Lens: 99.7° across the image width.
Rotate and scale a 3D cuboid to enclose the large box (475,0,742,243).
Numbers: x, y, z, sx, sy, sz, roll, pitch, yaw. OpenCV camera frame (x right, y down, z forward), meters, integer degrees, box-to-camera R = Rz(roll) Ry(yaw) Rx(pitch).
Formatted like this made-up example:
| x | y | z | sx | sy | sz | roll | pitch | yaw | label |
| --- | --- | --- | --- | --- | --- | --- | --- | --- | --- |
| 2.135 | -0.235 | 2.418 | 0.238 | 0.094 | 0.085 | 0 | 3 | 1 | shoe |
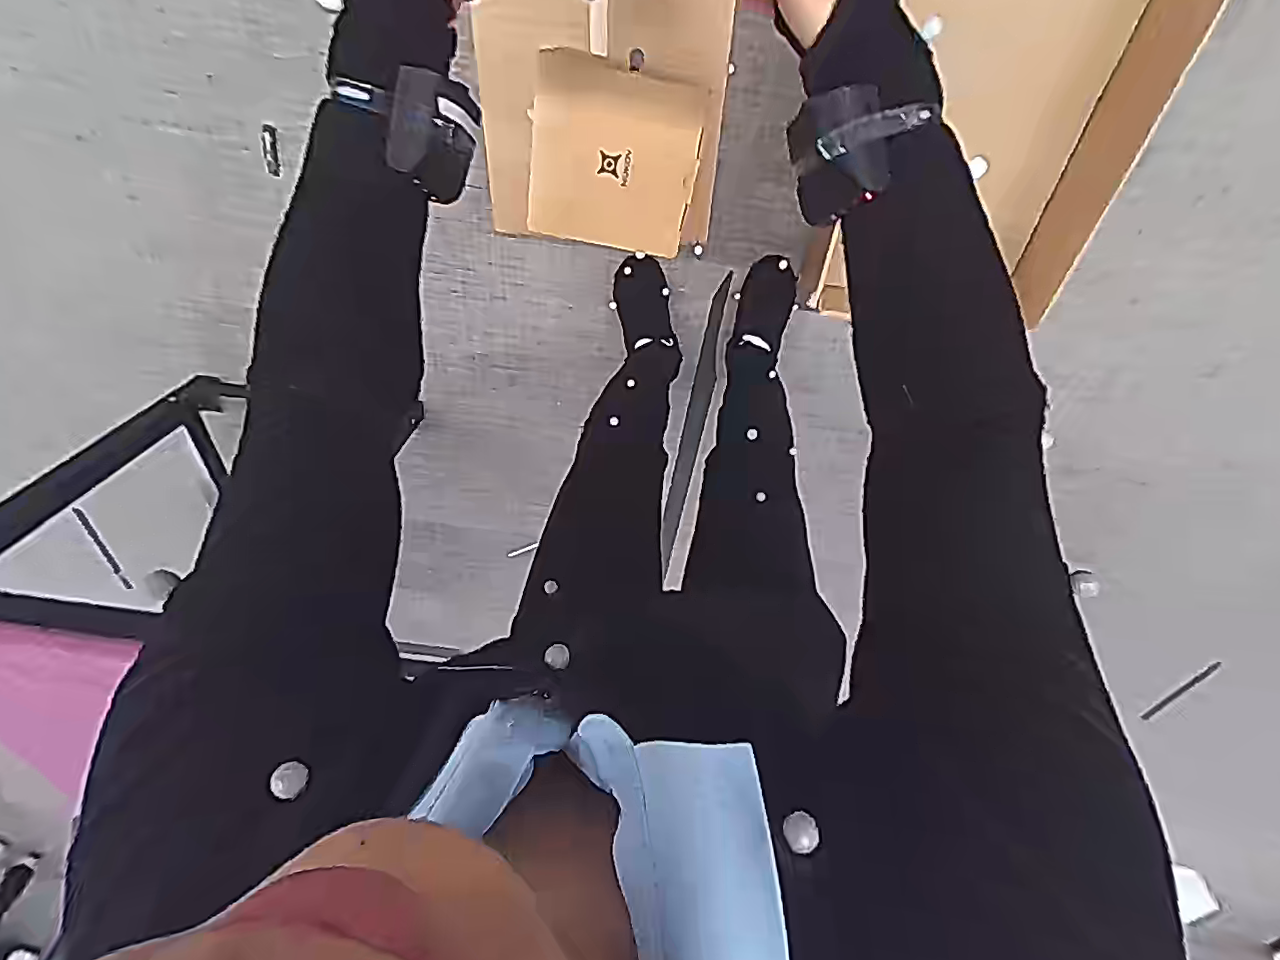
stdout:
| x | y | z | sx | sy | sz | roll | pitch | yaw | label |
| --- | --- | --- | --- | --- | --- | --- | --- | --- | --- |
| -0.032 | -0.601 | 0.772 | 0.320 | 0.320 | 0.408 | 5 | 130 | 2 | large box |
